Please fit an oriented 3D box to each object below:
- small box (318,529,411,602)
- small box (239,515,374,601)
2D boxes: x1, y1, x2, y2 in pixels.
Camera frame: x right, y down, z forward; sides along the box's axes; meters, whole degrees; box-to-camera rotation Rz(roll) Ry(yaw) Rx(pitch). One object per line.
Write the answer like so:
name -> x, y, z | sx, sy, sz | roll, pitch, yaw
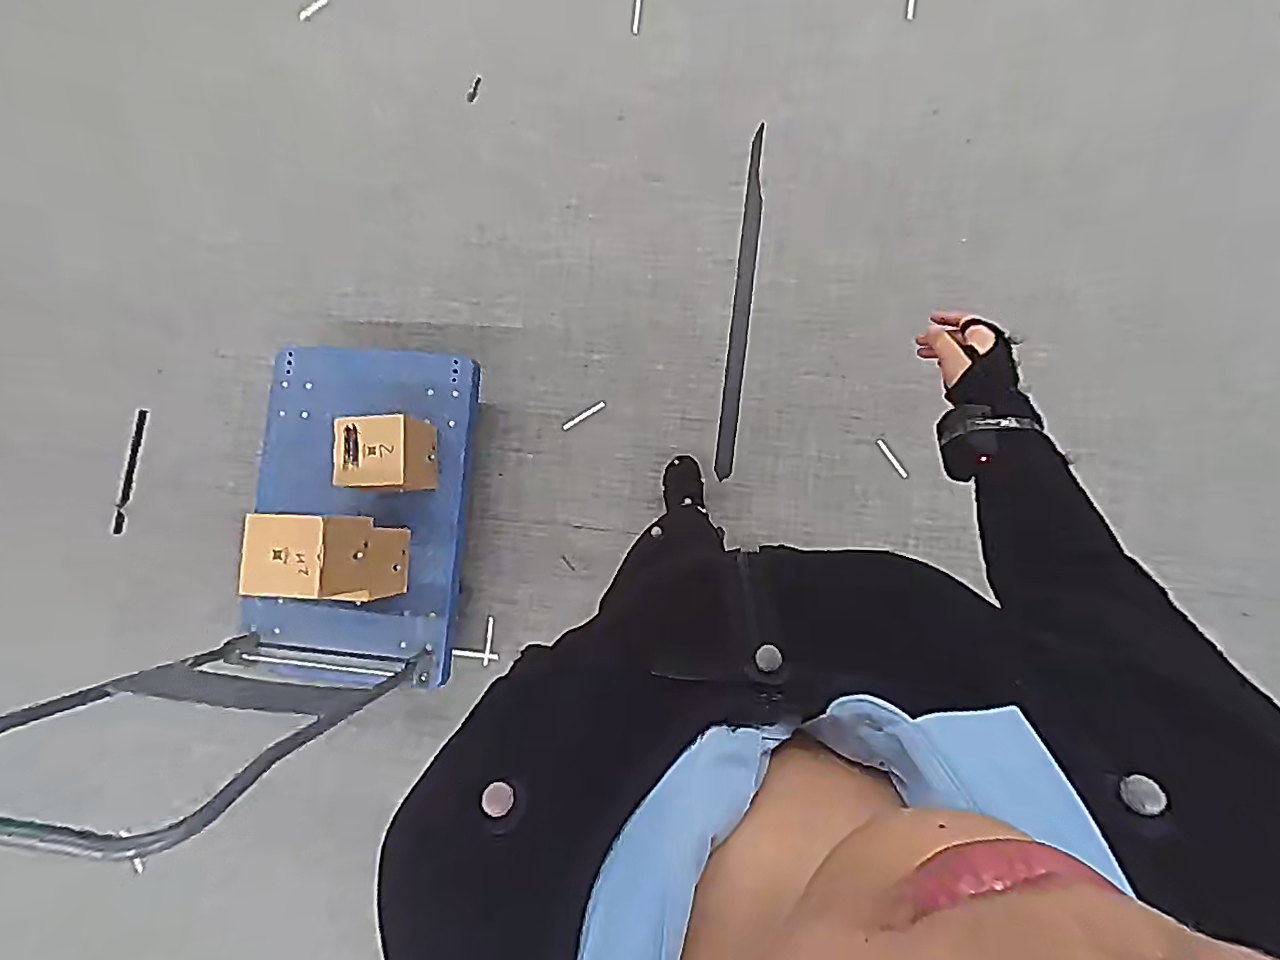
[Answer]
small box -> -0.690, 0.203, 1.318 | 0.179, 0.176, 0.168 | 1, 85, 6
small box -> -0.705, 0.162, 1.157 | 0.179, 0.176, 0.168 | 1, 85, 6
